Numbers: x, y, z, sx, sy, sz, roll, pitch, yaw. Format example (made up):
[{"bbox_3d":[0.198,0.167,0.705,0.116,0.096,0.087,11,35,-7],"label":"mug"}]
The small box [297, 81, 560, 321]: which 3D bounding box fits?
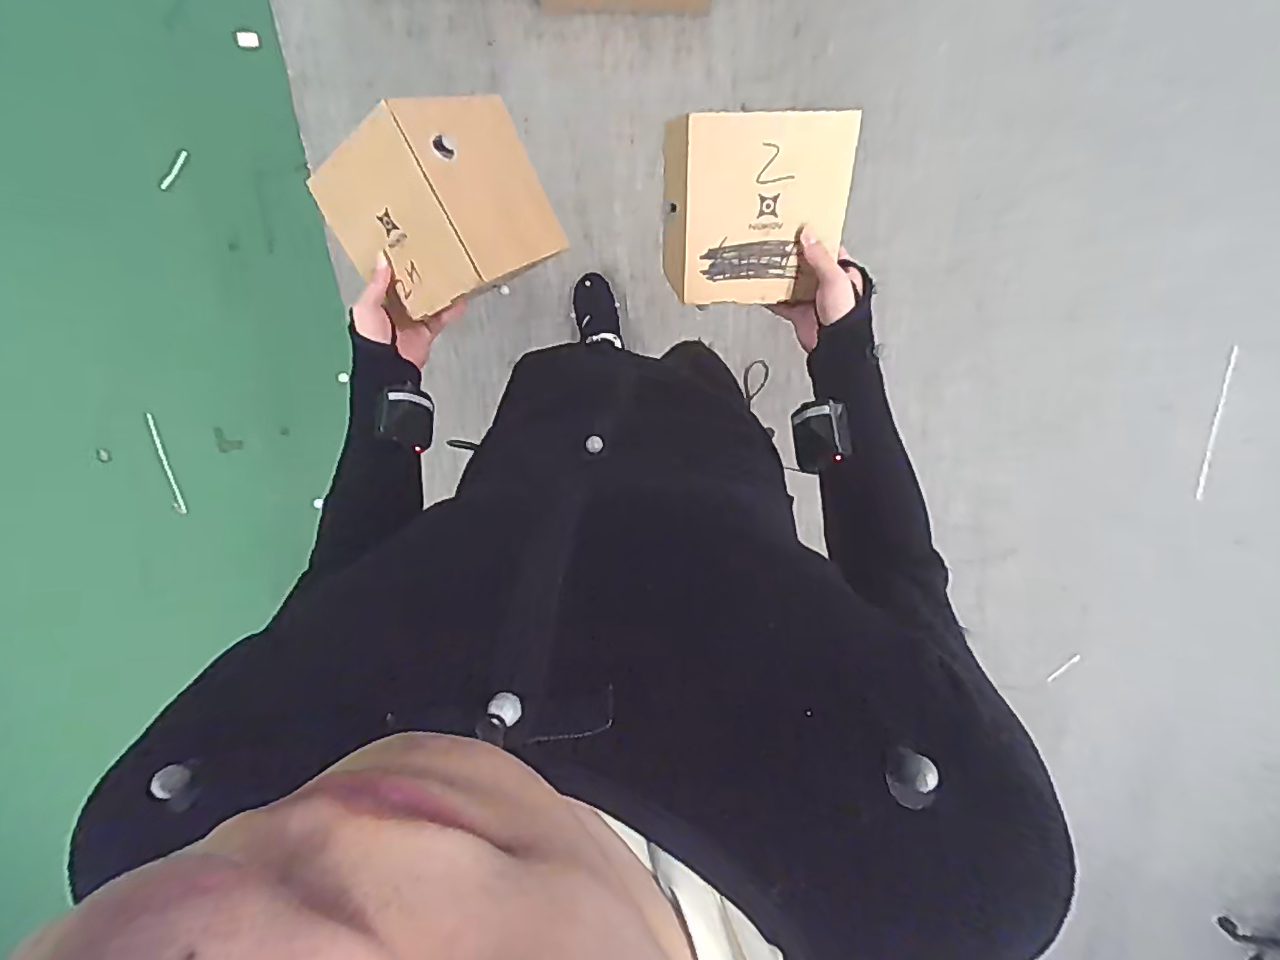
[{"bbox_3d":[-0.224,-0.306,0.605,0.168,0.176,0.179,-9,118,36],"label":"small box"}]
